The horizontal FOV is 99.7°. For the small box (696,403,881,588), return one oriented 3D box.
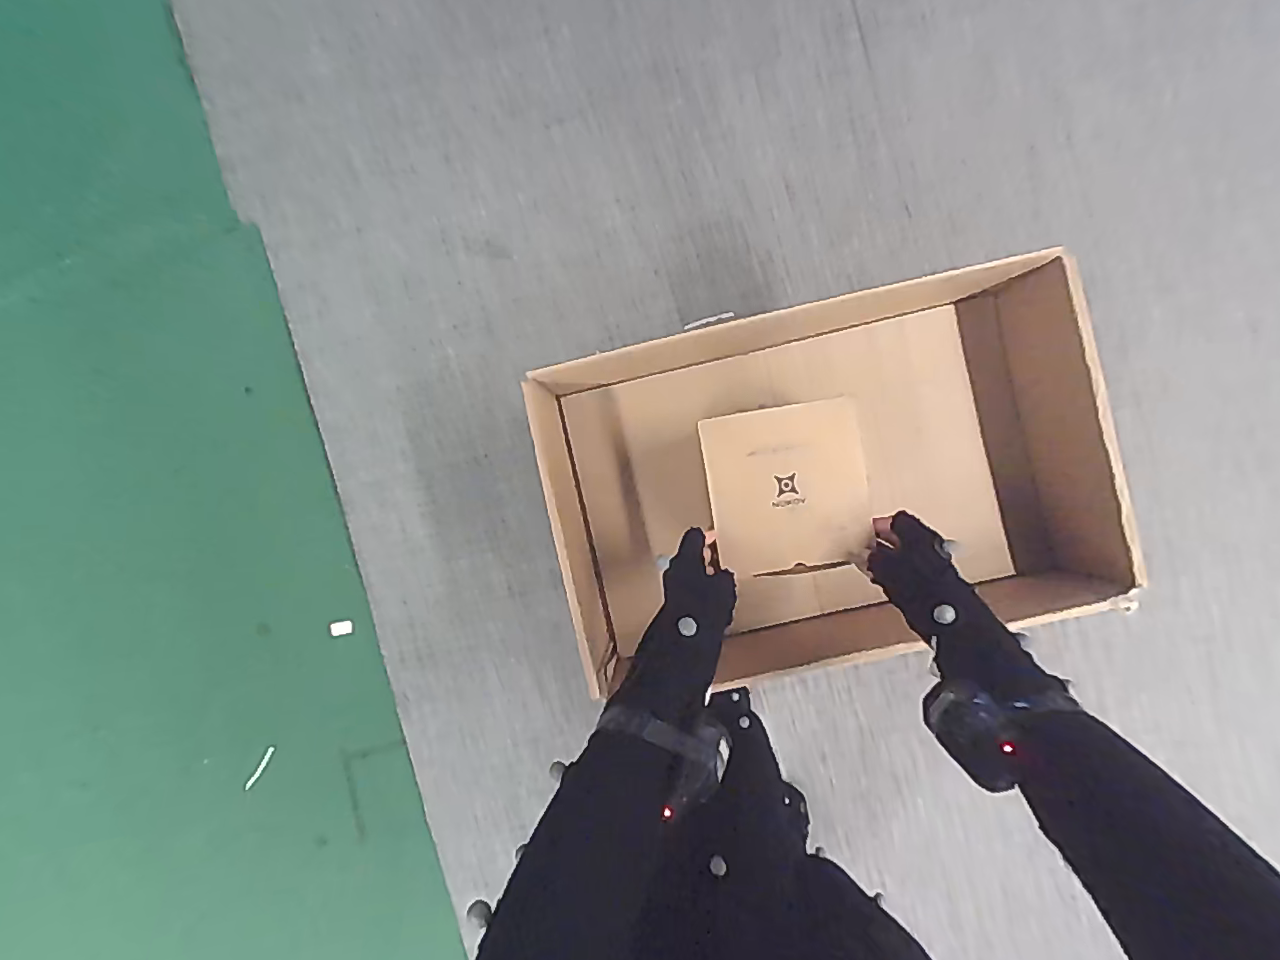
[{"bbox_3d":[0.162,0.017,0.645,0.168,0.176,0.179,-10,88,3],"label":"small box"}]
